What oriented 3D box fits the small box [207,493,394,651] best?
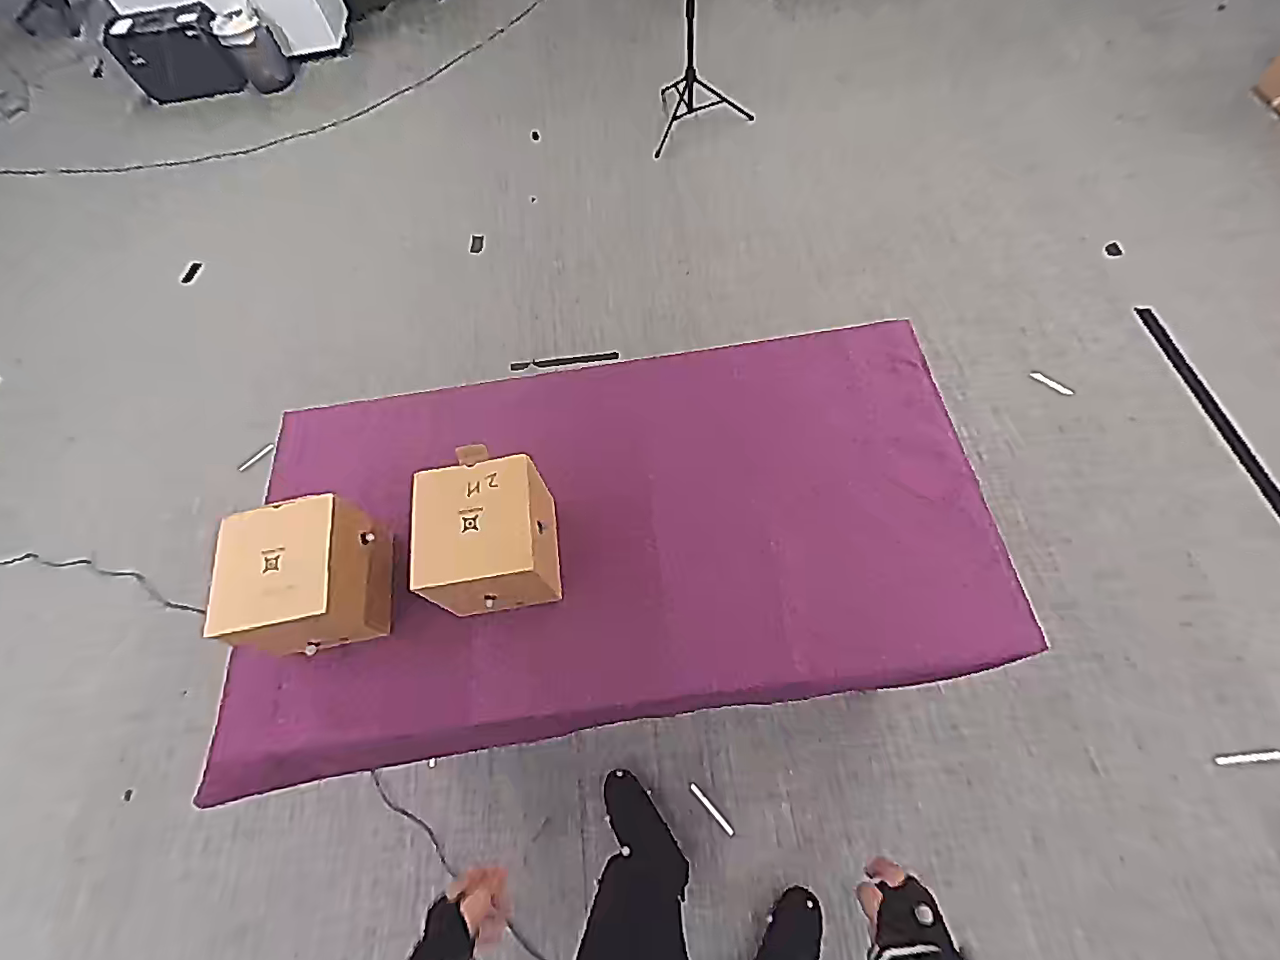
[{"bbox_3d":[-0.490,0.143,0.812,0.168,0.176,0.179,-11,63,0],"label":"small box"}]

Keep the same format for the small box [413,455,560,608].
[{"bbox_3d":[-0.221,0.087,0.814,0.168,0.176,0.179,-9,63,1],"label":"small box"}]
